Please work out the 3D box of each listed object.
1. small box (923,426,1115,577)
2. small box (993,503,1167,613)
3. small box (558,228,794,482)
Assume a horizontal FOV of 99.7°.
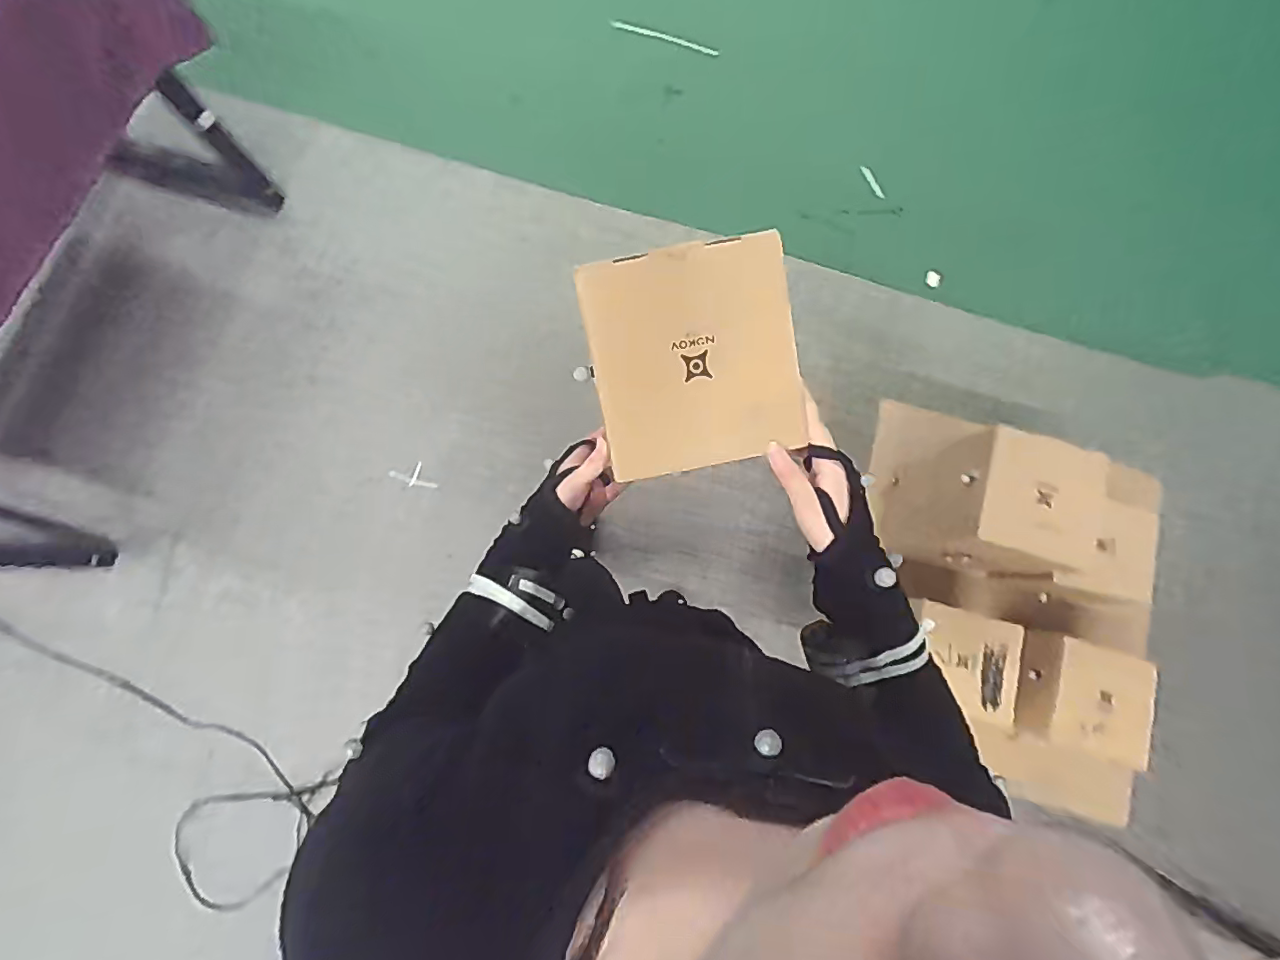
[{"bbox_3d":[0.568,0.041,0.832,0.168,0.176,0.179,18,80,3],"label":"small box"},{"bbox_3d":[0.793,0.136,0.987,0.179,0.176,0.168,15,78,0],"label":"small box"},{"bbox_3d":[0.029,-0.110,0.511,0.168,0.176,0.179,-12,99,-1],"label":"small box"}]
